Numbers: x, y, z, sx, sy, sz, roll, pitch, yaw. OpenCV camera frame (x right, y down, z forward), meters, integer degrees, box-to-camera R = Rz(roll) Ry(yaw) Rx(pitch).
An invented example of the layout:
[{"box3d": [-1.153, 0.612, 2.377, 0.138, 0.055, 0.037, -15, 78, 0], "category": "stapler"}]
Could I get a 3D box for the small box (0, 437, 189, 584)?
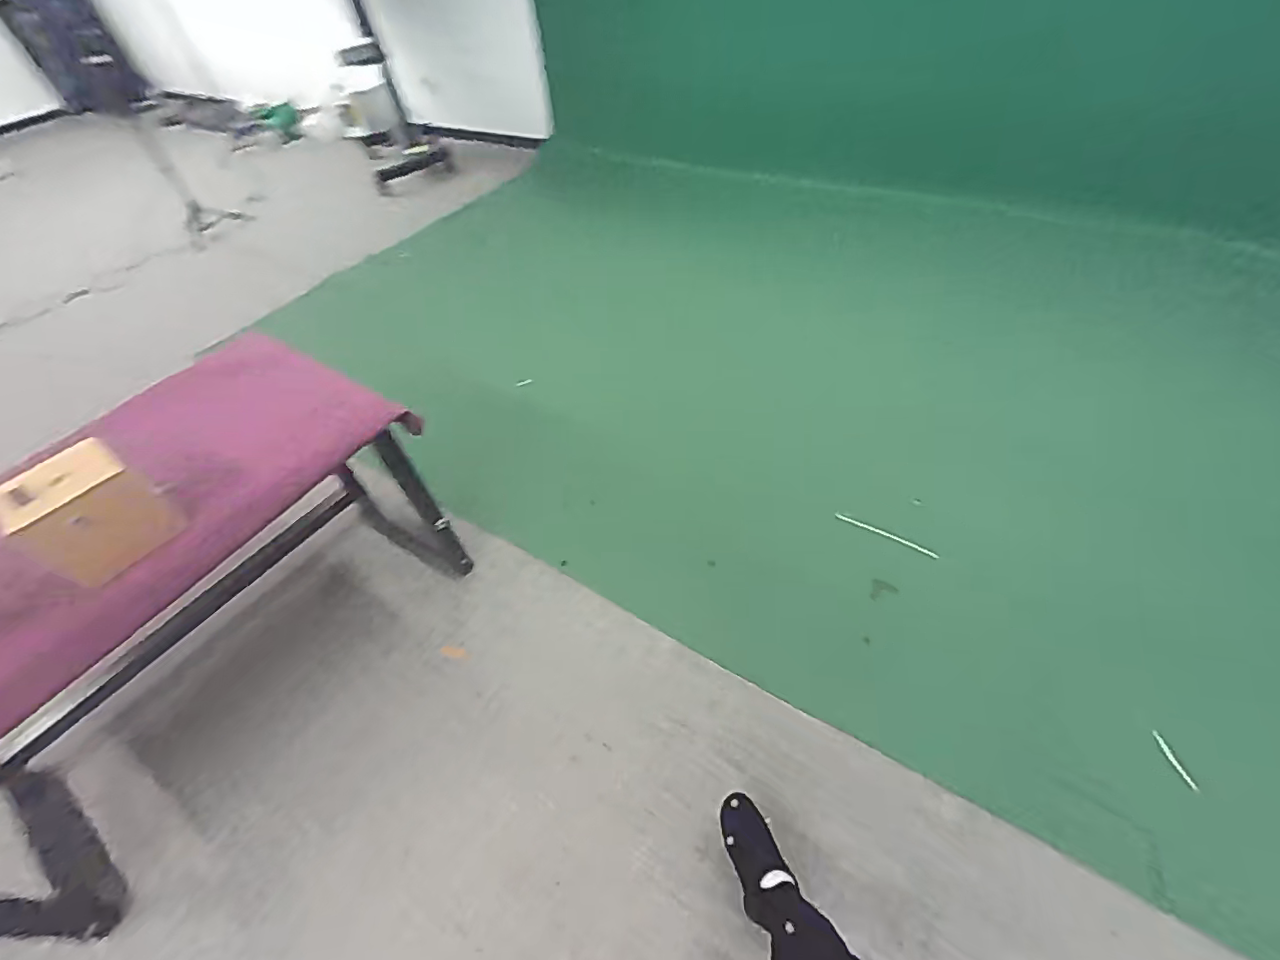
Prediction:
[{"box3d": [-0.999, 0.058, 0.993, 0.168, 0.176, 0.179, 27, 56, 28], "category": "small box"}]
